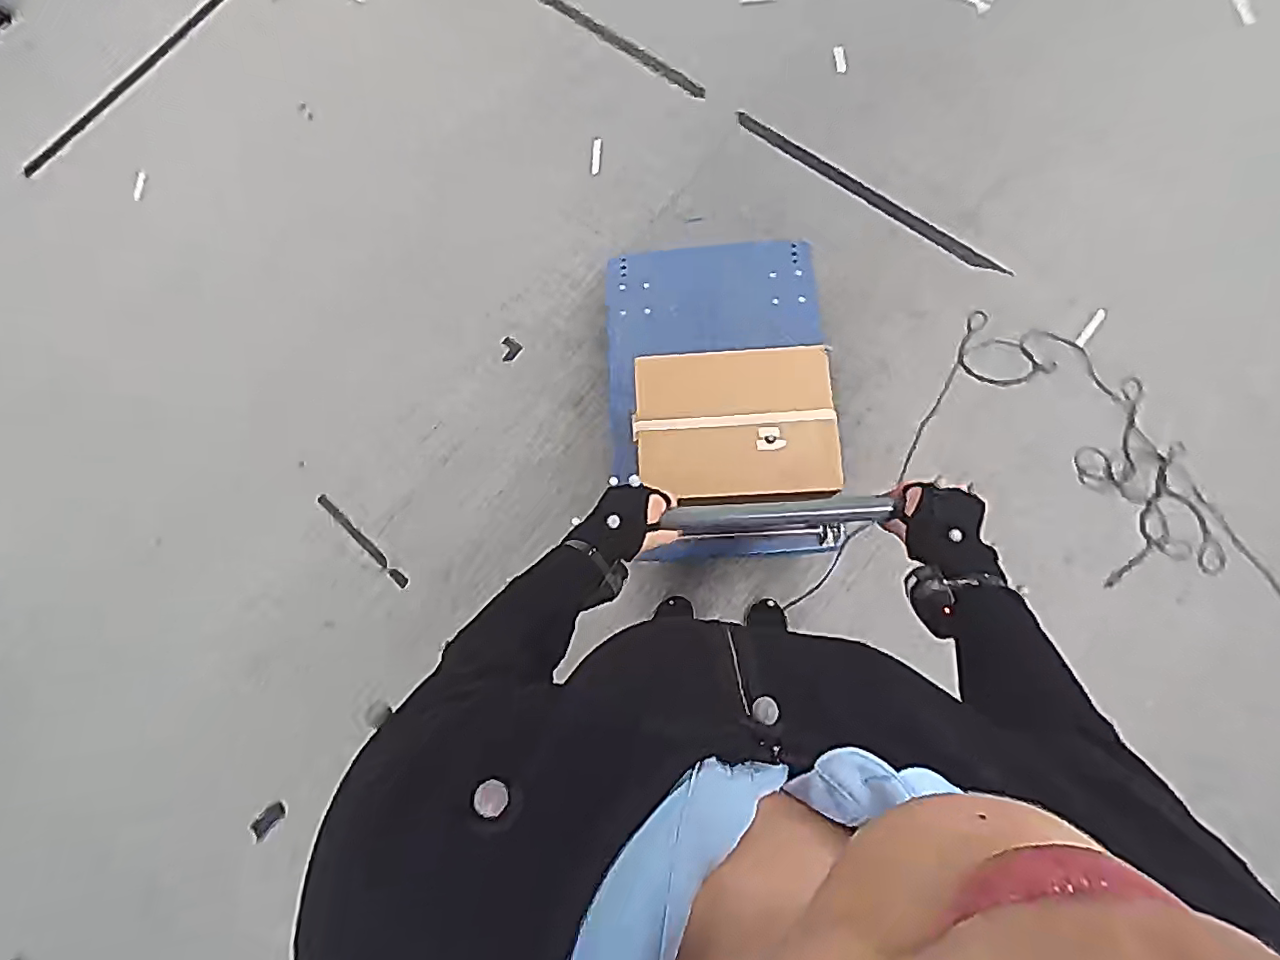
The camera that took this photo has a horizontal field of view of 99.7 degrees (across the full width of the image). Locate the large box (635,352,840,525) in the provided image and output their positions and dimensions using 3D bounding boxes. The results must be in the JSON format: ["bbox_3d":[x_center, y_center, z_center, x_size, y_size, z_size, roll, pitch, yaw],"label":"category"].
[{"bbox_3d":[0.201,-0.078,1.258,0.408,0.320,0.320,-3,78,2],"label":"large box"}]
